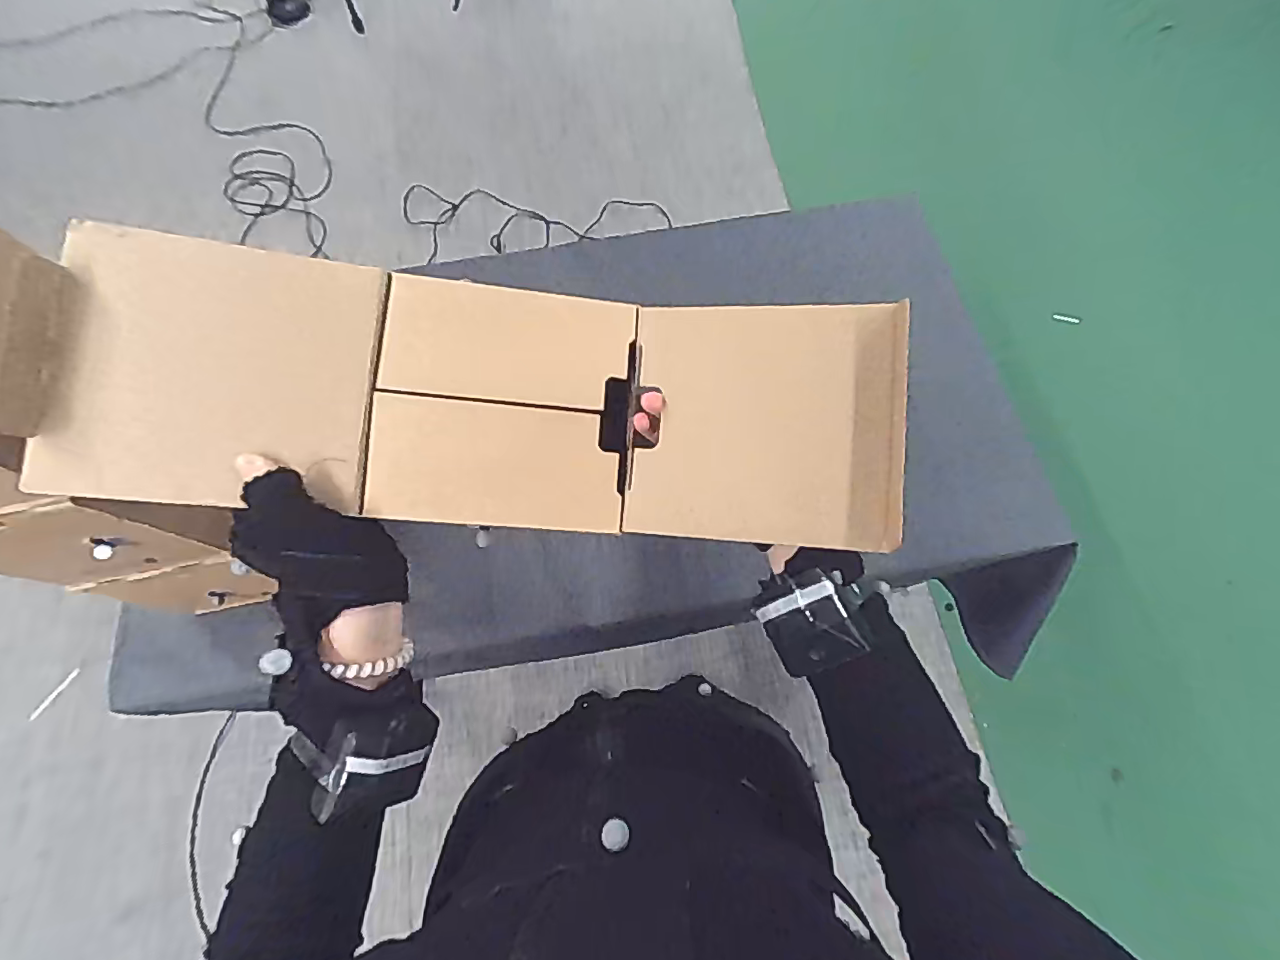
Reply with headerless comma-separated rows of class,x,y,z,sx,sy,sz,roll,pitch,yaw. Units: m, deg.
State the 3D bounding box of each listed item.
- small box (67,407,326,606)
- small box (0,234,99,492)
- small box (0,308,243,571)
small box,-0.499,0.039,0.640,0.168,0.176,0.179,-11,70,-3
small box,-0.504,-0.086,0.339,0.168,0.176,0.179,-11,69,-5
small box,-0.500,-0.022,0.490,0.168,0.176,0.179,-10,69,-4
